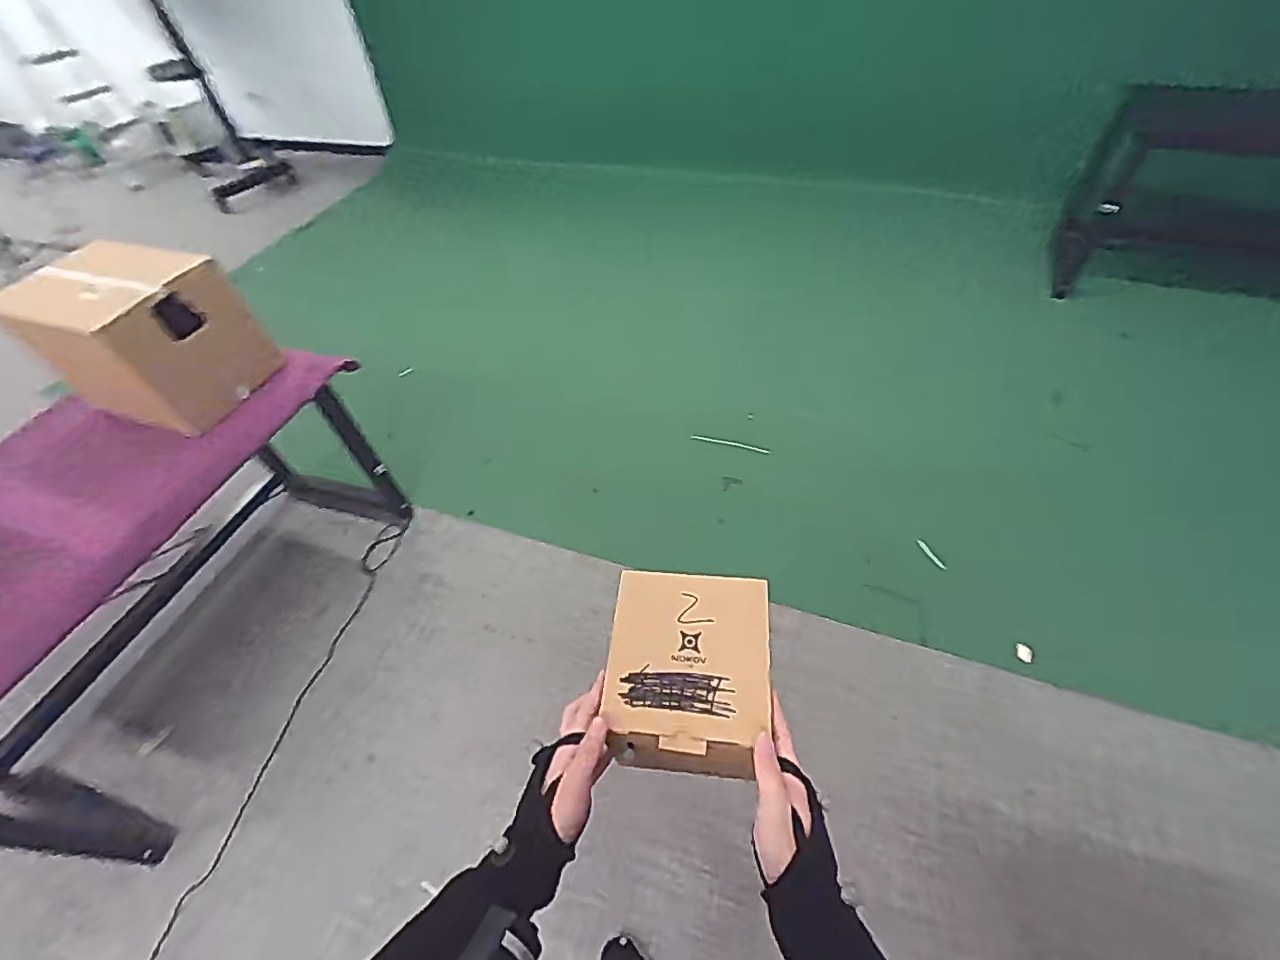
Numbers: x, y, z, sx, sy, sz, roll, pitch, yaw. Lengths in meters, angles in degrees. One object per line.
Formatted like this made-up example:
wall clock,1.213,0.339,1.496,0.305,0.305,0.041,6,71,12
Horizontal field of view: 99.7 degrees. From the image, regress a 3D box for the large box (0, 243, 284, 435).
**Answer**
large box,-1.223,-0.351,1.342,0.408,0.320,0.320,13,54,15
